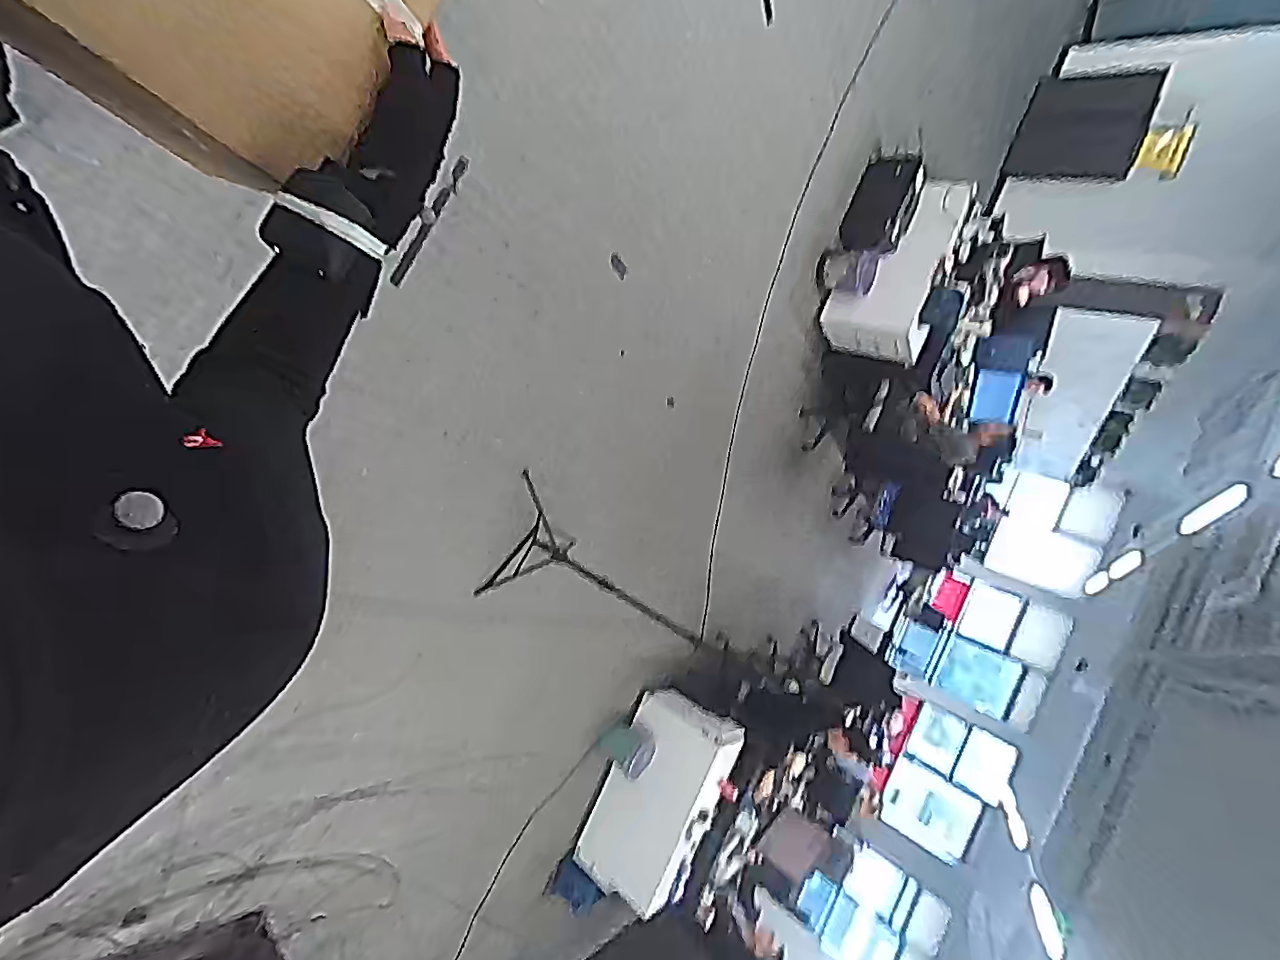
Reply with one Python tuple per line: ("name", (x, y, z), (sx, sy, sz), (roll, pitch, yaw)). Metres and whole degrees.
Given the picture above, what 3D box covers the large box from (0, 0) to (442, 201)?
("large box", (-0.390, -0.471, 0.362), (0.320, 0.320, 0.408), (-59, 146, 0))
